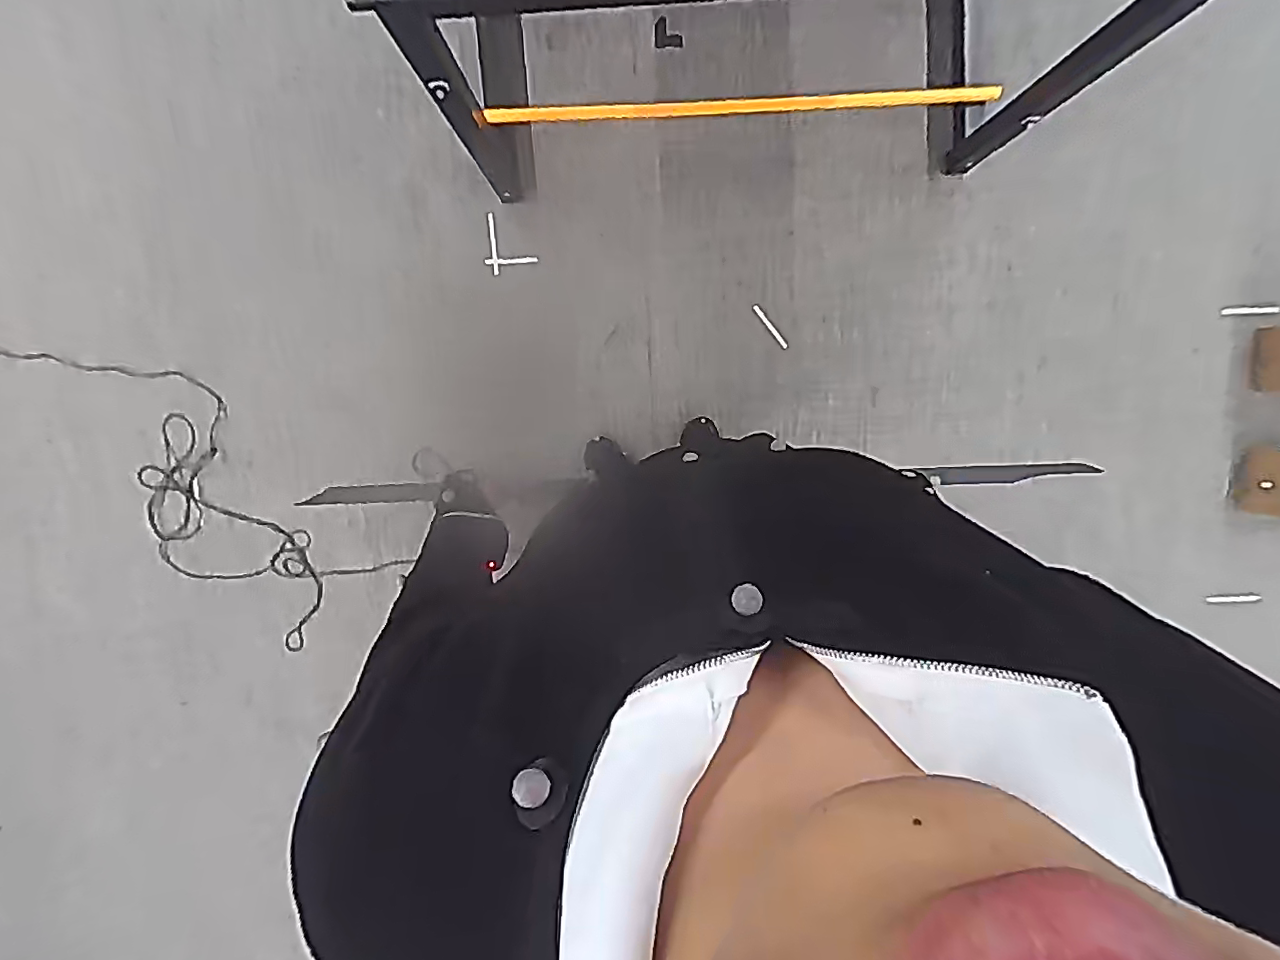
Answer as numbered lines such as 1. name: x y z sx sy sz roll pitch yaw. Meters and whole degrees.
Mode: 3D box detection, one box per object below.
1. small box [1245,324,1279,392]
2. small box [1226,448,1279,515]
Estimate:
1. small box: 1.721 -0.318 1.382 0.168 0.176 0.179 -4 98 0
2. small box: 1.731 0.005 1.434 0.179 0.176 0.168 -1 99 1
